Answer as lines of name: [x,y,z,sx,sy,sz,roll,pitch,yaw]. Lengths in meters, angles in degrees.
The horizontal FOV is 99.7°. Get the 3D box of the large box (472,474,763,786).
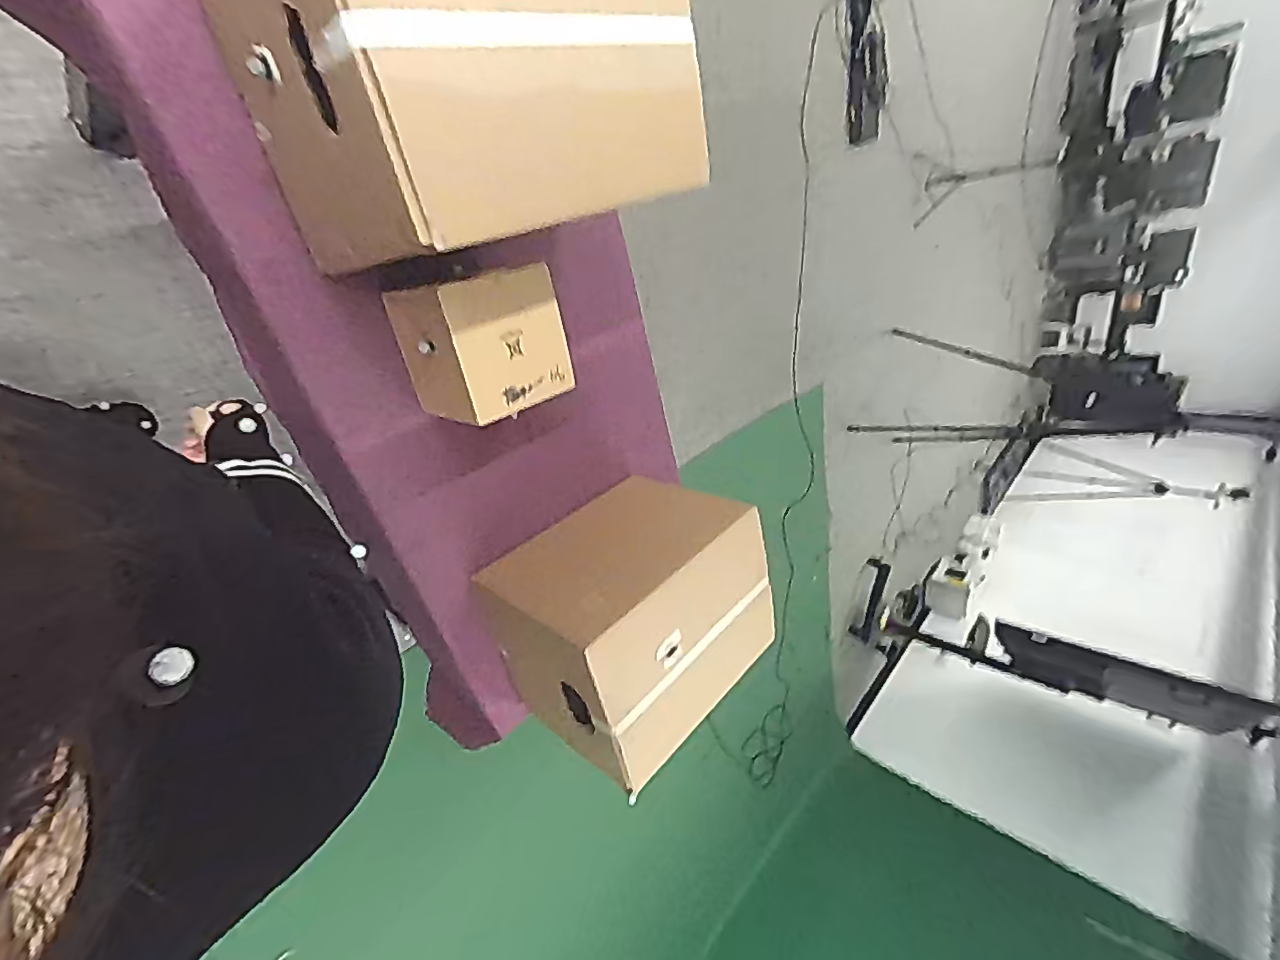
large box: [-0.023,0.232,0.995,0.408,0.320,0.320,-33,122,-35]
